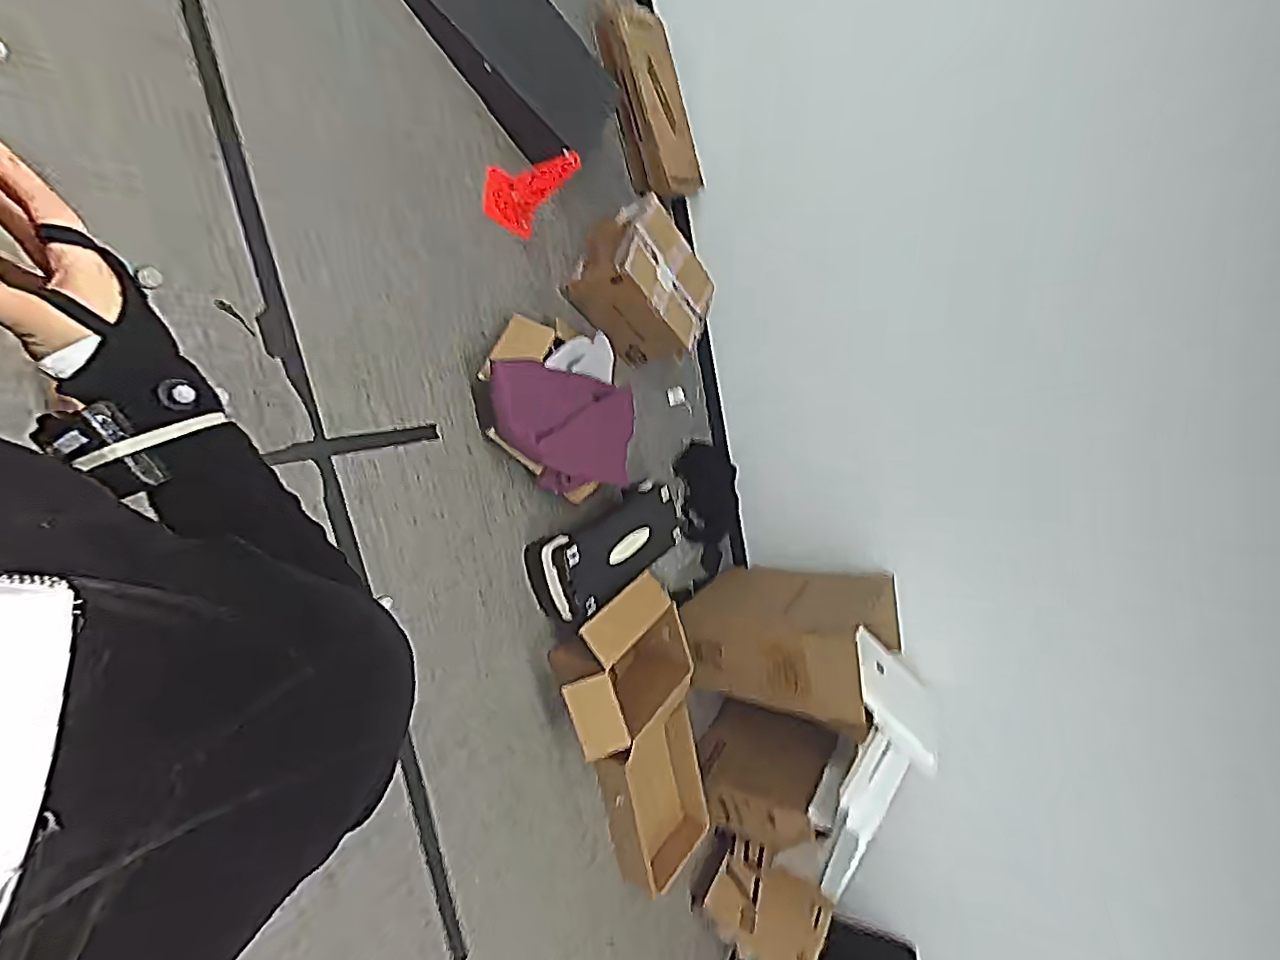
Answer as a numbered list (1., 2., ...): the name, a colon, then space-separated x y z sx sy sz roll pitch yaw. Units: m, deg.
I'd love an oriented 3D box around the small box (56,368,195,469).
1. small box: -1.025 -0.121 1.078 0.168 0.176 0.179 -13 98 -50
